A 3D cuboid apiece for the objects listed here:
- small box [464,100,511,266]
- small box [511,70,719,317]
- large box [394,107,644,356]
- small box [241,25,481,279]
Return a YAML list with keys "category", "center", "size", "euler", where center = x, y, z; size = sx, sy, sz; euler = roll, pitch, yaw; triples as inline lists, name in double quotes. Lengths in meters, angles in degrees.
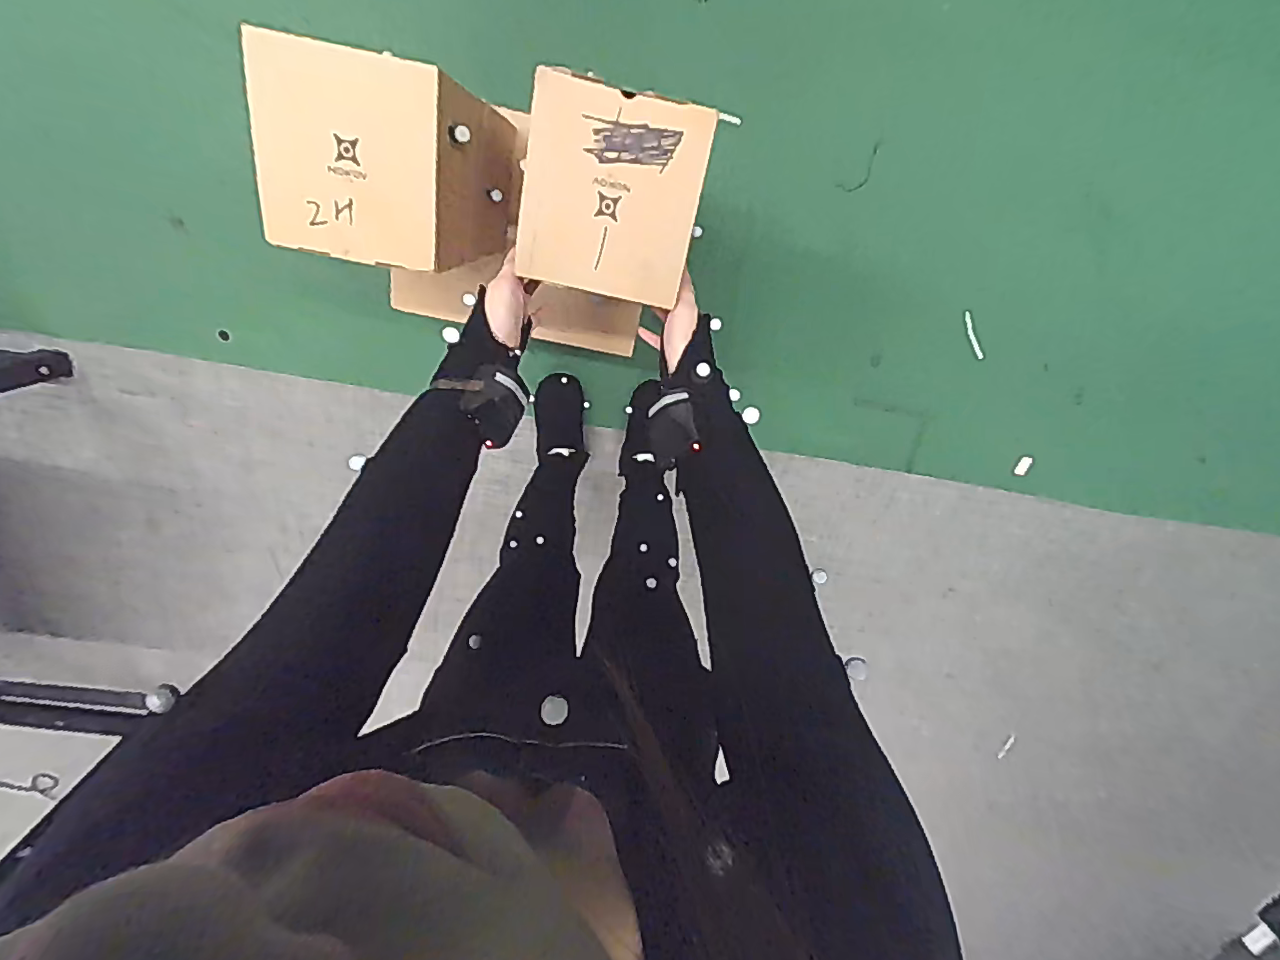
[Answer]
- category: "small box"
  center: [-0.273, -0.395, 0.712]
  size: [0.168, 0.176, 0.179]
  euler: [10, 115, -5]
- category: "small box"
  center: [-0.028, -0.284, 0.571]
  size: [0.168, 0.176, 0.179]
  euler: [12, 111, -4]
- category: "large box"
  center: [-0.178, -0.435, 0.961]
  size: [0.408, 0.320, 0.320]
  euler: [10, 115, -5]
- category: "small box"
  center: [-0.271, -0.322, 0.564]
  size: [0.168, 0.176, 0.179]
  euler: [10, 114, -5]
